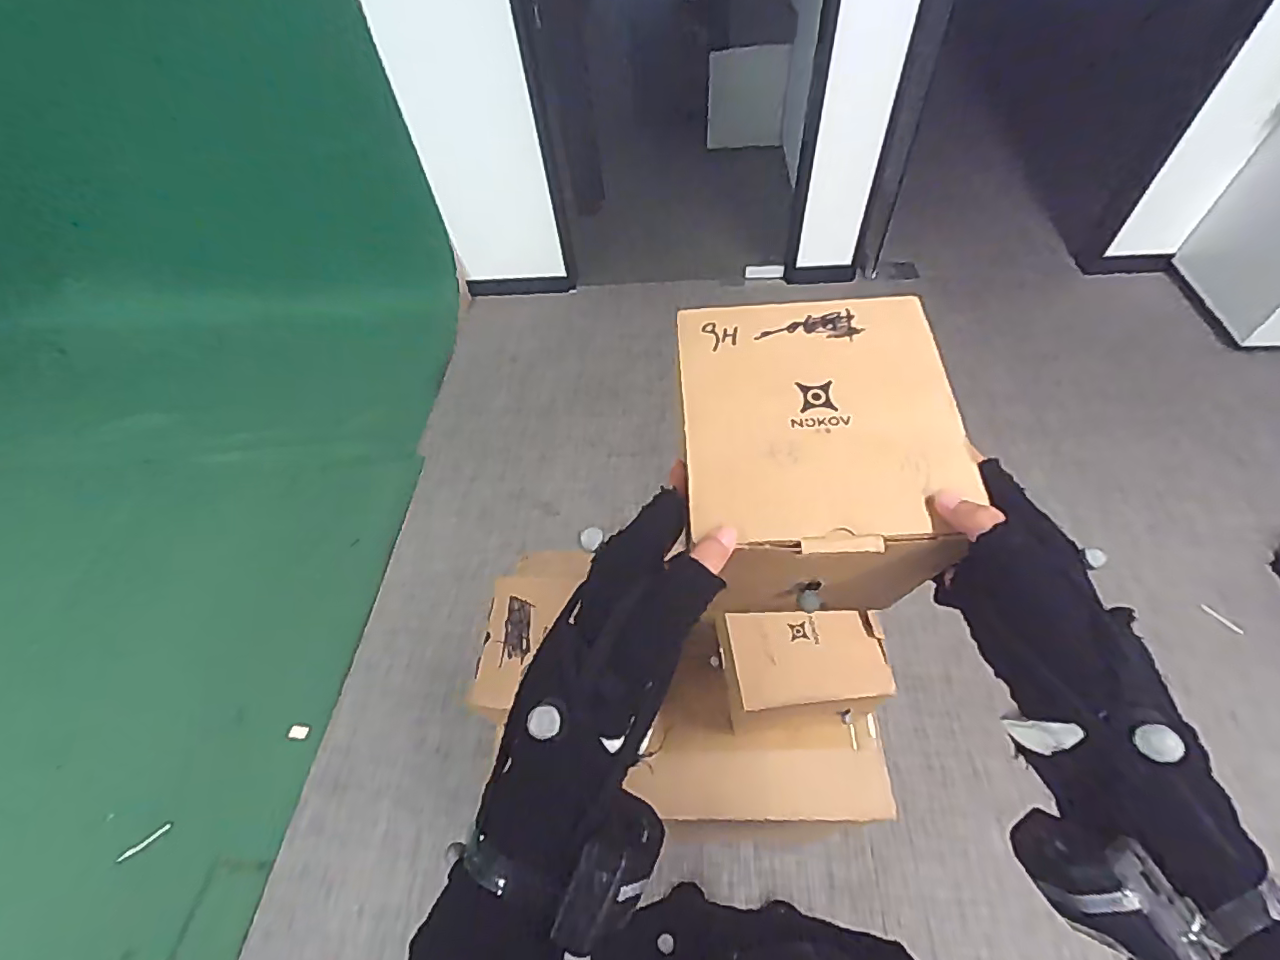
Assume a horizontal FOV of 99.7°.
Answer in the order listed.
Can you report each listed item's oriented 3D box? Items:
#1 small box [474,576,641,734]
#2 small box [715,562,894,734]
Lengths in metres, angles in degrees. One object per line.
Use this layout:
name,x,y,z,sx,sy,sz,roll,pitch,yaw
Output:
small box,-0.098,0.242,0.738,0.179,0.176,0.168,1,57,6
small box,0.200,0.228,0.718,0.179,0.176,0.168,-9,55,1
